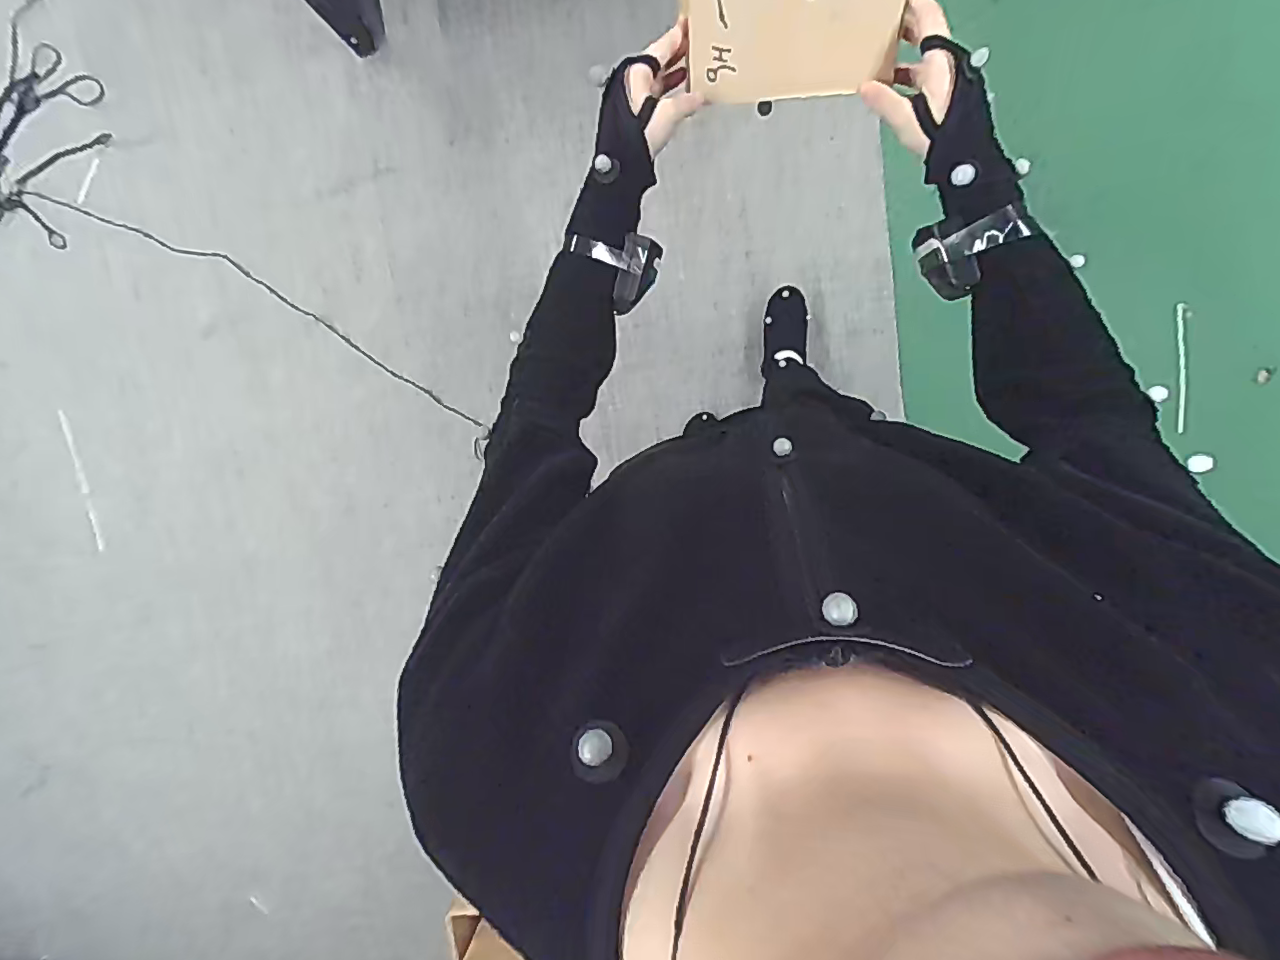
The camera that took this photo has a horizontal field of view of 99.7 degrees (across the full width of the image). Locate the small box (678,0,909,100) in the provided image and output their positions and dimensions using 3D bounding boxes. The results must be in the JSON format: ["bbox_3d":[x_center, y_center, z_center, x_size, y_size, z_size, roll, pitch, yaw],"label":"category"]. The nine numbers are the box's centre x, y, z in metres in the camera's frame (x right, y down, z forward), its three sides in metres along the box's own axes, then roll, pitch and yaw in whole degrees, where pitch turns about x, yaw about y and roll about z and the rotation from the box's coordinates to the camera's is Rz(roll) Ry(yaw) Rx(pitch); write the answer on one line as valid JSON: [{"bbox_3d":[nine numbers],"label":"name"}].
[{"bbox_3d":[0.125,-0.446,0.480,0.179,0.176,0.168,-2,126,3],"label":"small box"}]
